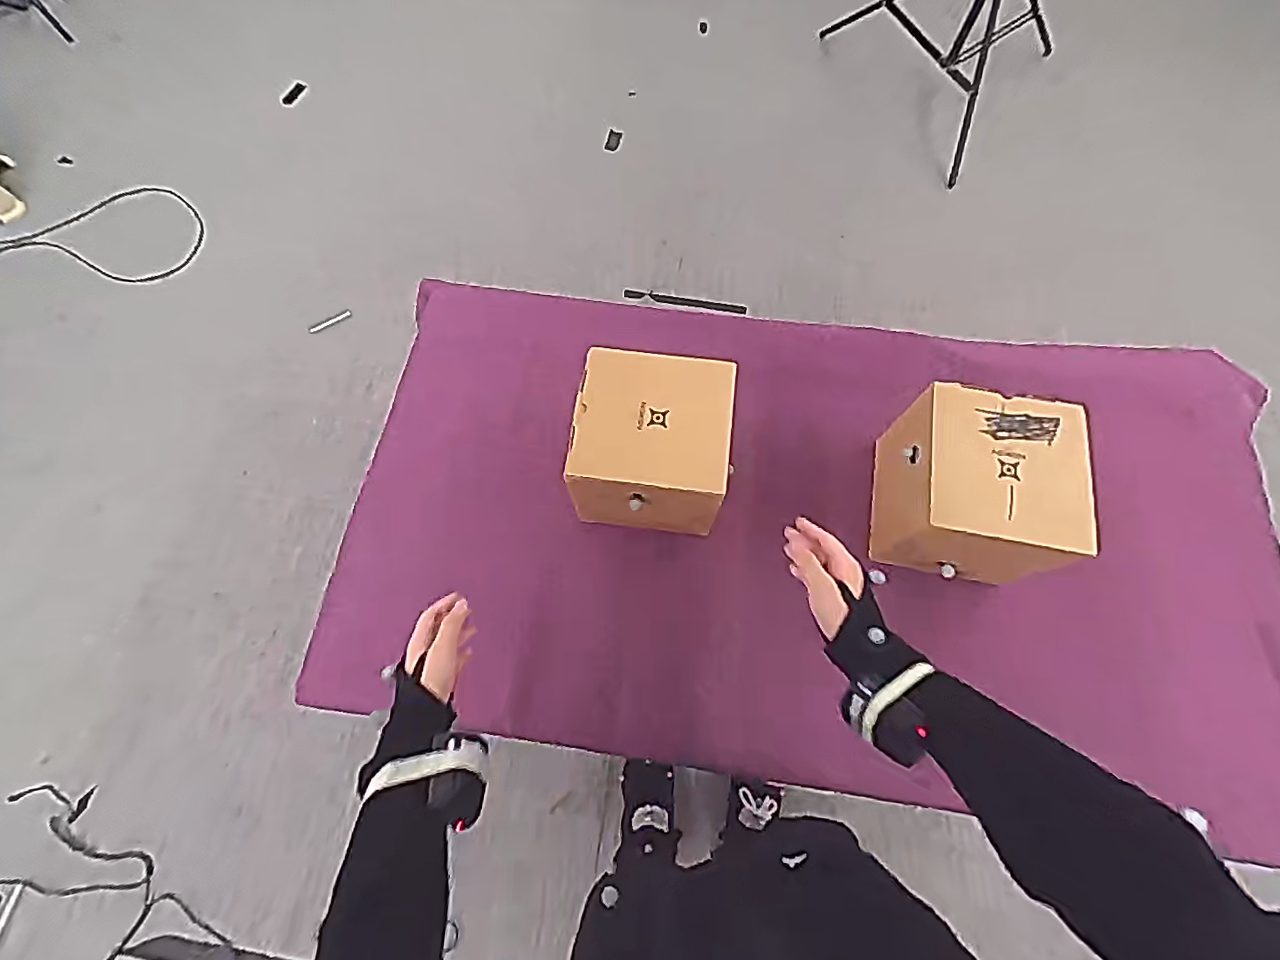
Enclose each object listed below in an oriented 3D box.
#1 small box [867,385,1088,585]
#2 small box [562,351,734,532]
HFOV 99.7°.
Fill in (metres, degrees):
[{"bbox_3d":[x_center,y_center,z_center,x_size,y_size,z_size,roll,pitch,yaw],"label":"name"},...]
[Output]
[{"bbox_3d":[0.390,0.014,0.654,0.168,0.176,0.179,11,70,5],"label":"small box"},{"bbox_3d":[0.013,-0.038,0.680,0.179,0.176,0.168,7,70,4],"label":"small box"}]
